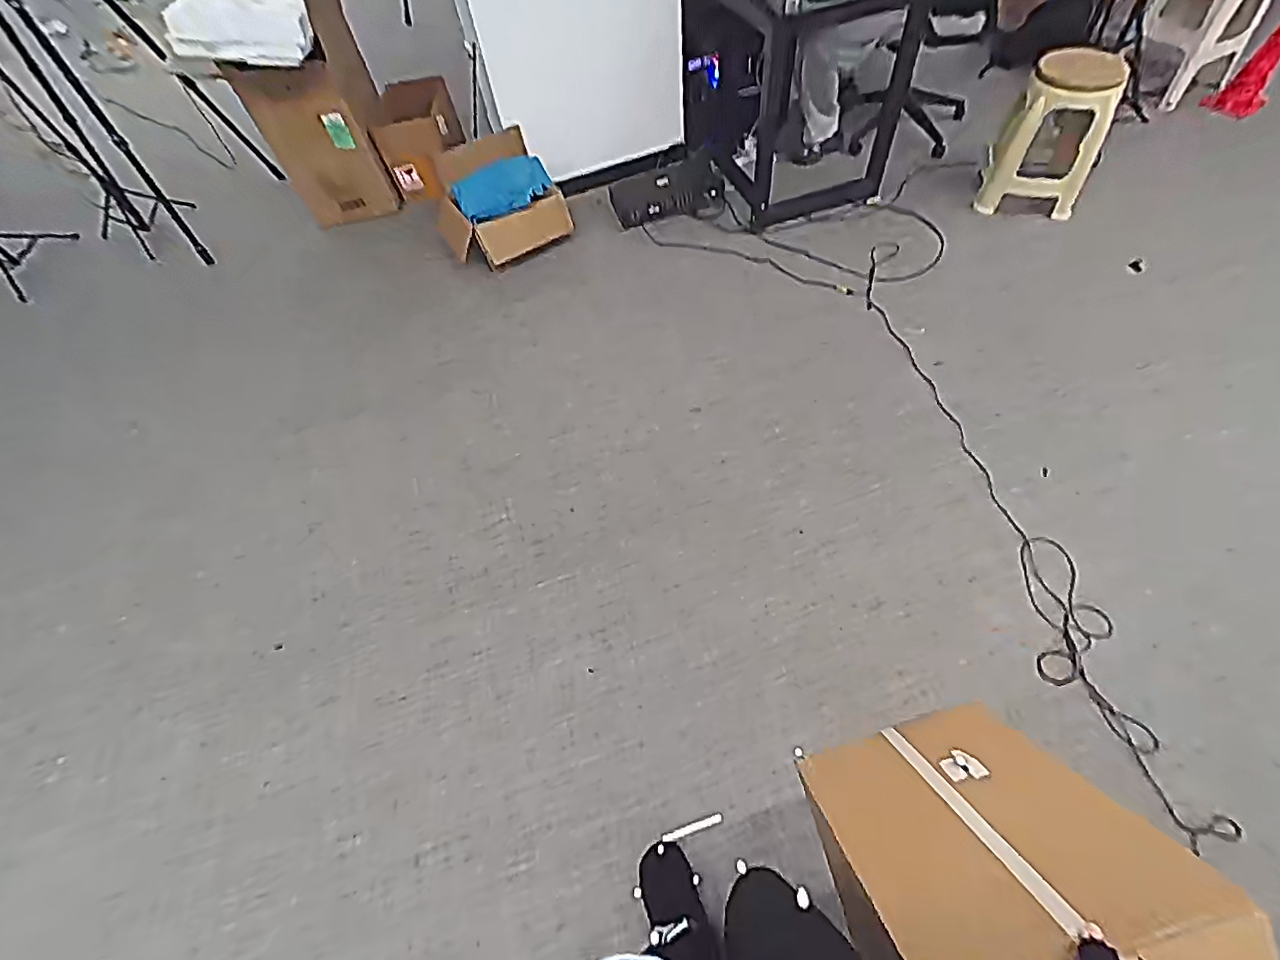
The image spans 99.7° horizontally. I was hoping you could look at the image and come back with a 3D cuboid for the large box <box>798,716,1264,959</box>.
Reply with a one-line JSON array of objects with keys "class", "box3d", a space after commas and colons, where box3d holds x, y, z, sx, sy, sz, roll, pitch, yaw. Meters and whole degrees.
[{"class": "large box", "box3d": [0.454, 0.577, 0.688, 0.320, 0.408, 0.320, -16, 92, -1]}]
